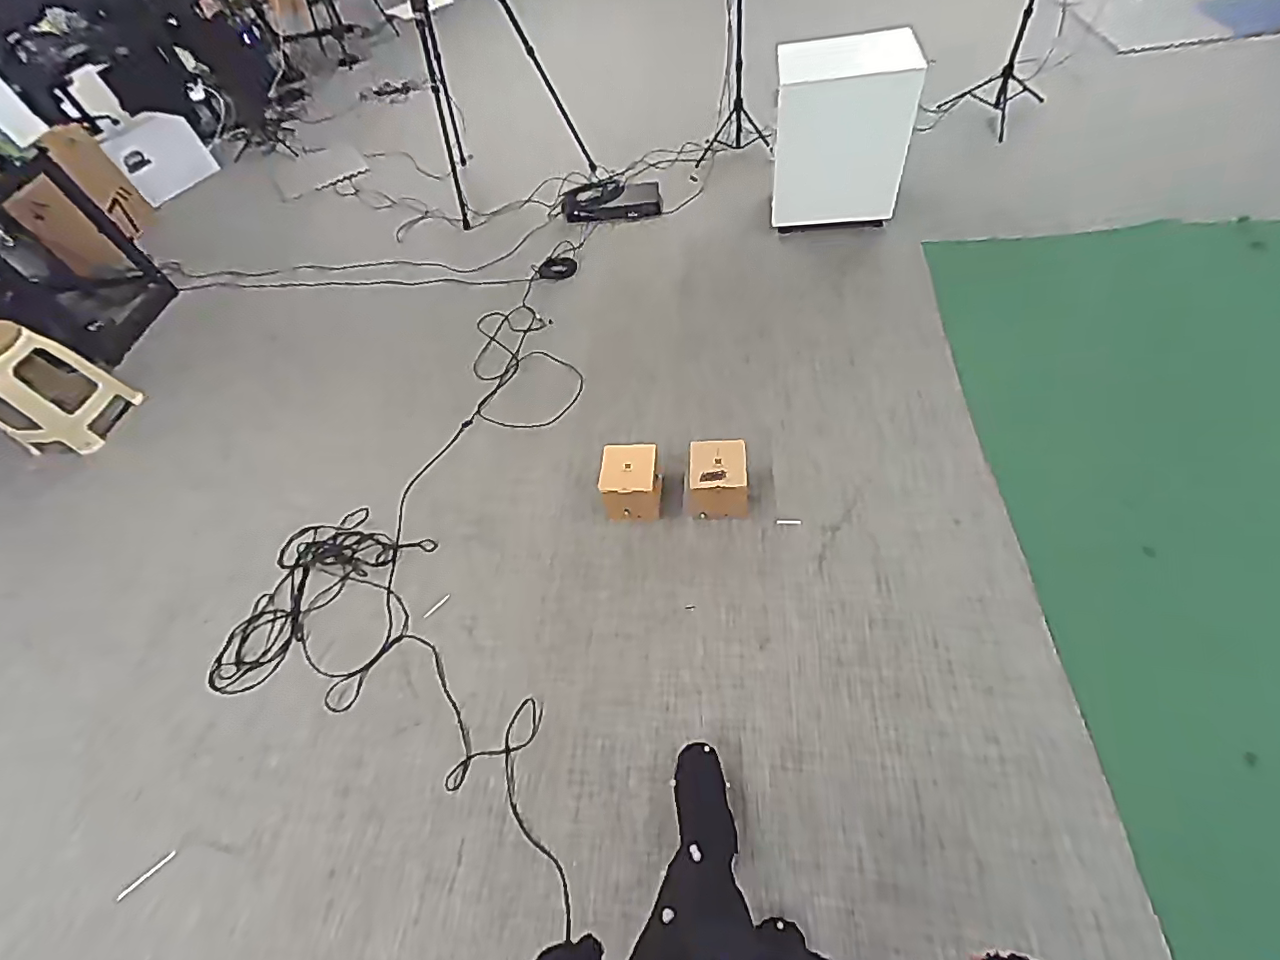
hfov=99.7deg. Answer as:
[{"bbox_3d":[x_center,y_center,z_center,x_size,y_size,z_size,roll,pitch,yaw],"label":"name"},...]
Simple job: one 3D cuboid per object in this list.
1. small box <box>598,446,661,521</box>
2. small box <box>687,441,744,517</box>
[{"bbox_3d":[-0.028,0.013,1.704,0.168,0.176,0.179,-1,55,10],"label":"small box"},{"bbox_3d":[0.235,0.002,1.661,0.168,0.176,0.179,-2,54,9],"label":"small box"}]
